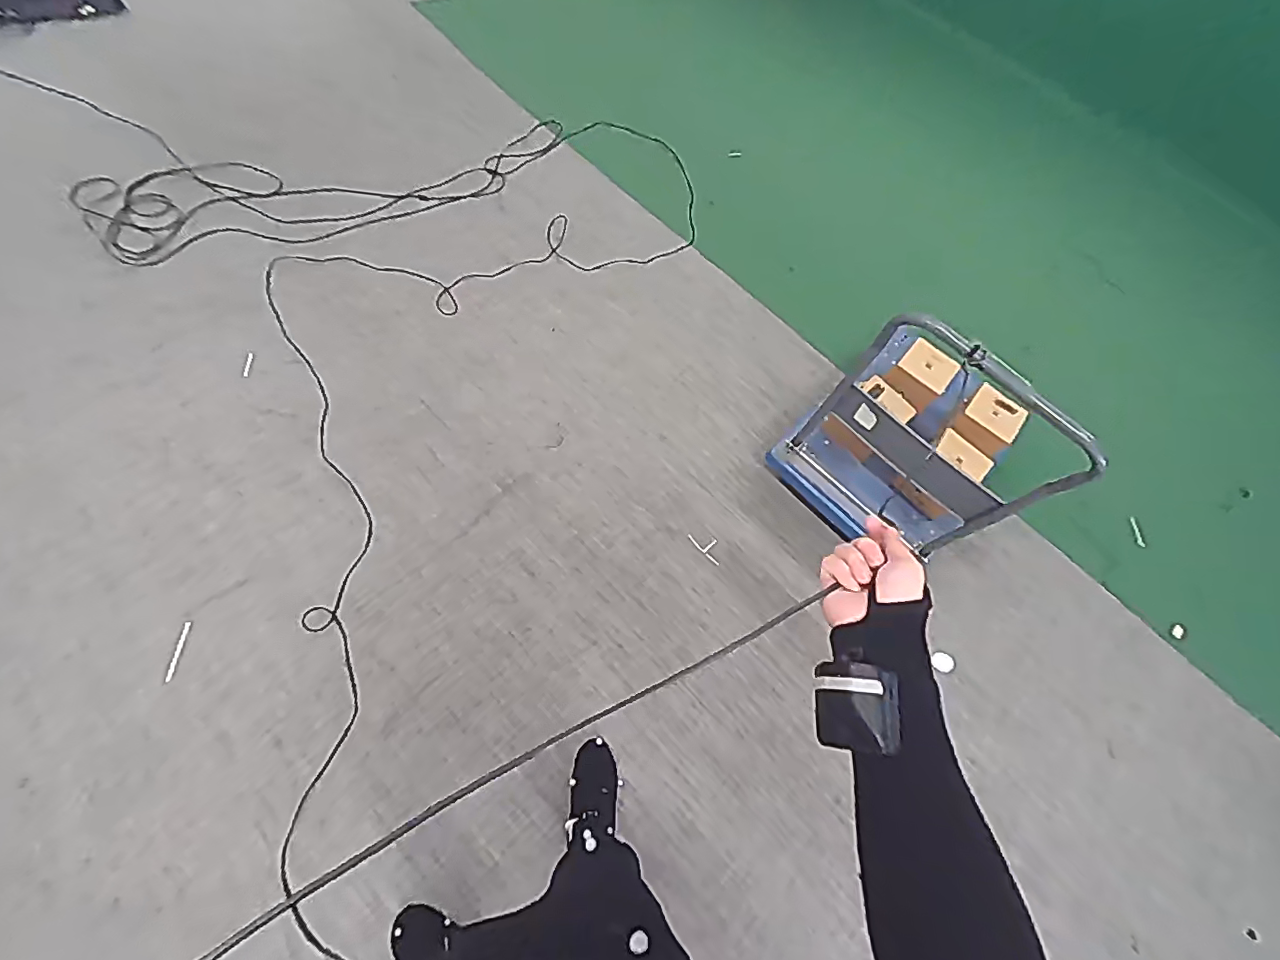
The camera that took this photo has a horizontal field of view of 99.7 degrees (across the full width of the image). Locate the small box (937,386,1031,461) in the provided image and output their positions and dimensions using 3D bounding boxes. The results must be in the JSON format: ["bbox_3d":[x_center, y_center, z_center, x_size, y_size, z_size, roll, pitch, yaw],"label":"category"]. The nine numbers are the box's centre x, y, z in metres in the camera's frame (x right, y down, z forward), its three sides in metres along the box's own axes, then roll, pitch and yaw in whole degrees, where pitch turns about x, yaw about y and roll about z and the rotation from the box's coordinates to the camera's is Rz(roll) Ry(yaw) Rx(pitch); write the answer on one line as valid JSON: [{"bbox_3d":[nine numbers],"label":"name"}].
[{"bbox_3d":[1.122,-0.168,1.775,0.168,0.176,0.179,41,65,12],"label":"small box"}]

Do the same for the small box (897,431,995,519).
[{"bbox_3d":[0.932,-0.012,1.663,0.179,0.176,0.168,-39,76,-24],"label":"small box"}]

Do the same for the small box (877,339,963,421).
[{"bbox_3d":[0.935,-0.330,1.823,0.168,0.176,0.179,42,64,10],"label":"small box"}]
